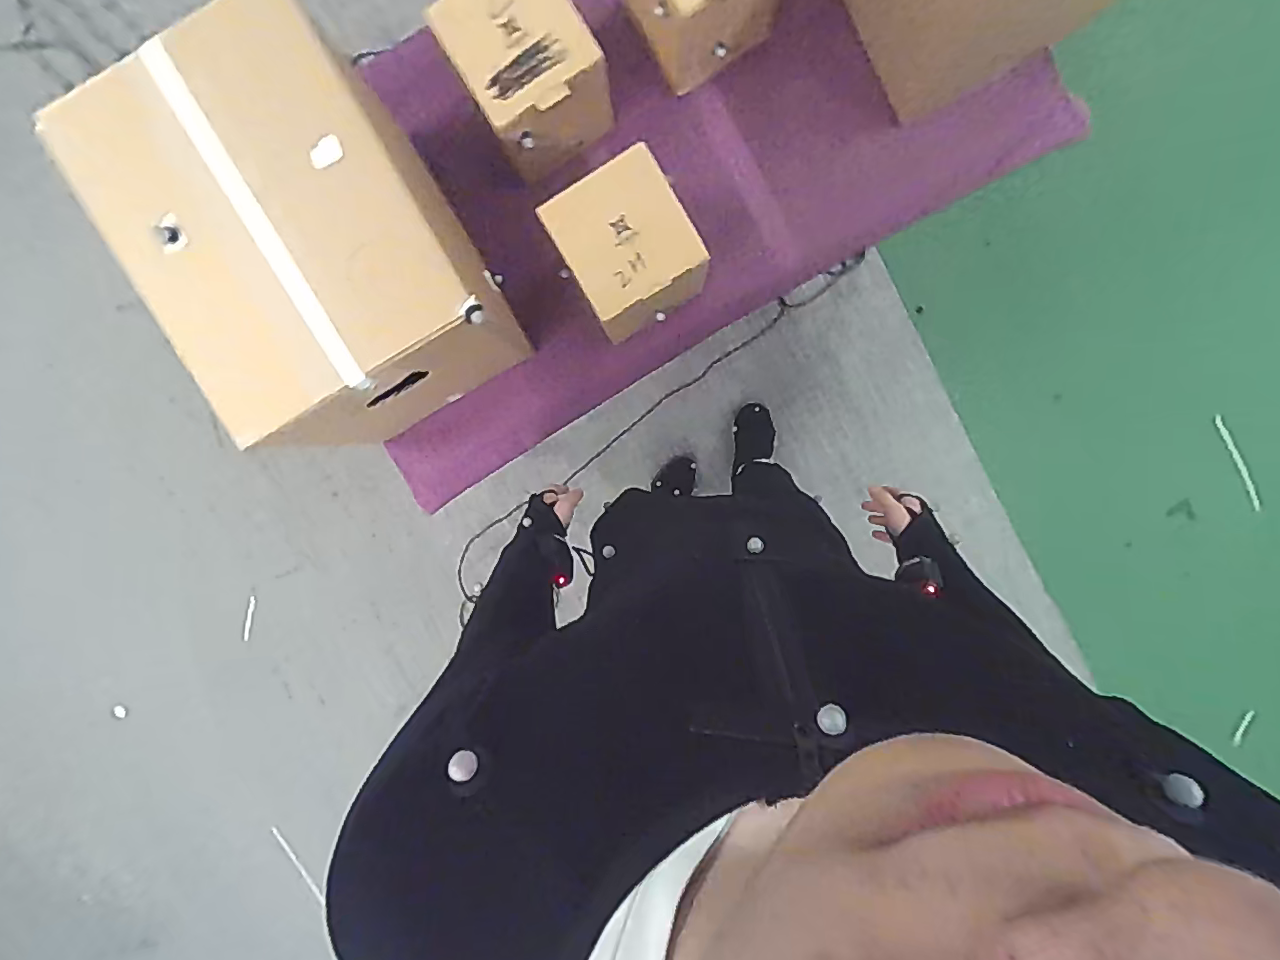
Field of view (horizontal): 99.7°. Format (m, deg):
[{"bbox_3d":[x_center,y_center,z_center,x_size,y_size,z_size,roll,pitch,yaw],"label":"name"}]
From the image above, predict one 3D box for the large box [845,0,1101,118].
[{"bbox_3d":[0.439,-0.782,0.664,0.320,0.320,0.408,-29,94,5],"label":"large box"}]
